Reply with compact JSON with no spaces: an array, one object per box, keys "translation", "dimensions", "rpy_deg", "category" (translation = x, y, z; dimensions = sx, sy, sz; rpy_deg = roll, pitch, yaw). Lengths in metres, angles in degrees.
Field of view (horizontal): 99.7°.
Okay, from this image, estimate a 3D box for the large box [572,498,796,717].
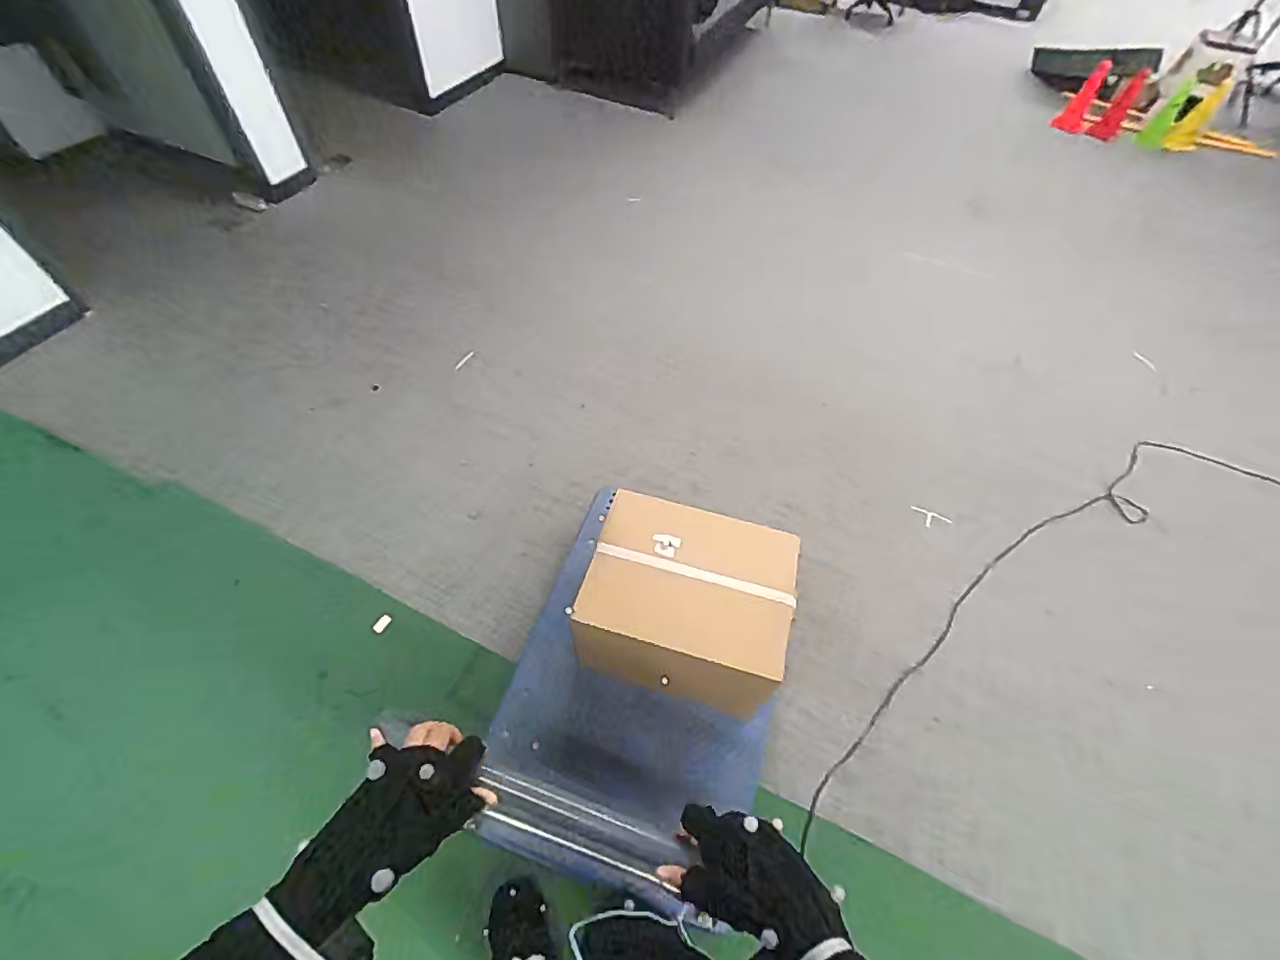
[{"translation":[0.098,0.287,1.197],"dimensions":[0.408,0.320,0.320],"rpy_deg":[14,54,8],"category":"large box"}]
